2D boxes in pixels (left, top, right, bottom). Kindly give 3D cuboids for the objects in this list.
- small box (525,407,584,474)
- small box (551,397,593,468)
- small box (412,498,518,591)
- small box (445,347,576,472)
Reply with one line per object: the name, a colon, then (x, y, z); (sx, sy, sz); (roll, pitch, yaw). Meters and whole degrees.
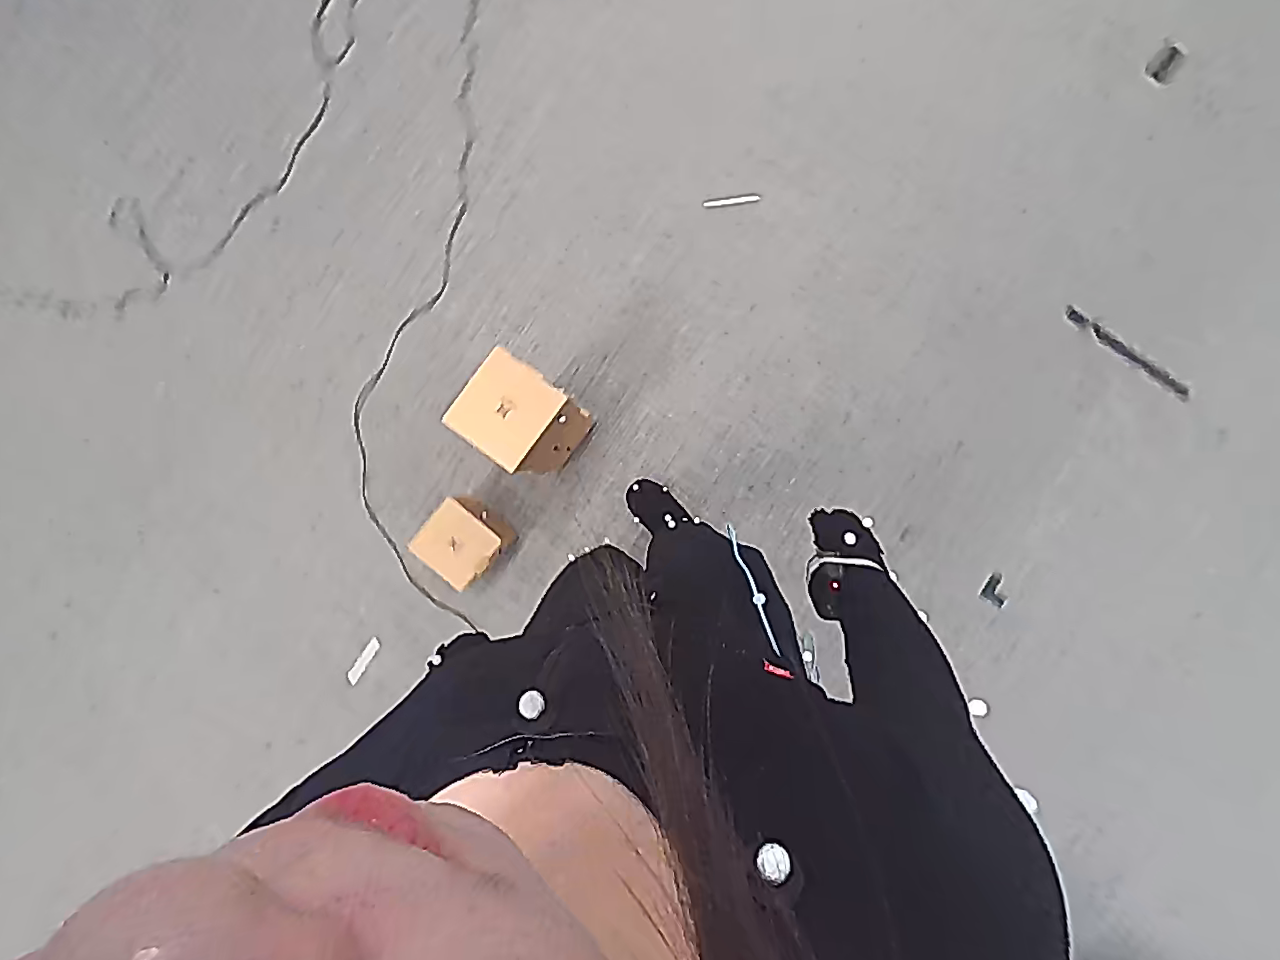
small box: (-0.242, -0.128, 1.232); (0.168, 0.176, 0.179); (38, 91, 0)
small box: (-0.236, -0.140, 1.398); (0.168, 0.176, 0.179); (36, 92, 0)
small box: (-0.444, 0.156, 1.407); (0.179, 0.176, 0.168); (39, 91, 0)
small box: (-0.244, -0.128, 1.069); (0.168, 0.176, 0.179); (36, 91, 1)
